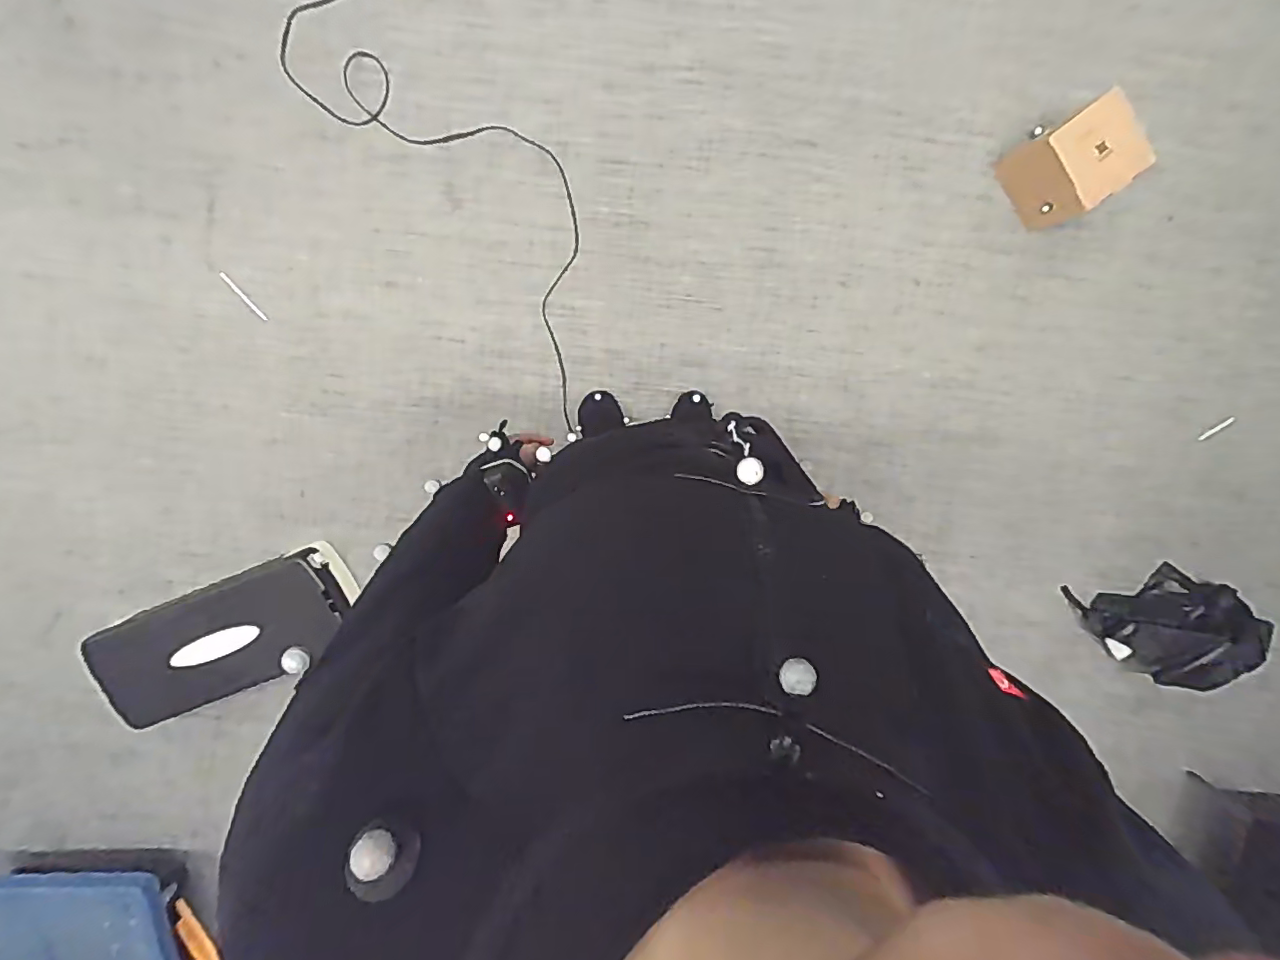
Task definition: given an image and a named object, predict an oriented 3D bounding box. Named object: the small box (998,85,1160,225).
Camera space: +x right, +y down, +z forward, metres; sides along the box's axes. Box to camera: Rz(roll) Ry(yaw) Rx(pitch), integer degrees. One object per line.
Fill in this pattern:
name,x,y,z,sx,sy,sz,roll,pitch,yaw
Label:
small box,0.924,-0.673,1.153,0.168,0.176,0.179,-37,98,5
